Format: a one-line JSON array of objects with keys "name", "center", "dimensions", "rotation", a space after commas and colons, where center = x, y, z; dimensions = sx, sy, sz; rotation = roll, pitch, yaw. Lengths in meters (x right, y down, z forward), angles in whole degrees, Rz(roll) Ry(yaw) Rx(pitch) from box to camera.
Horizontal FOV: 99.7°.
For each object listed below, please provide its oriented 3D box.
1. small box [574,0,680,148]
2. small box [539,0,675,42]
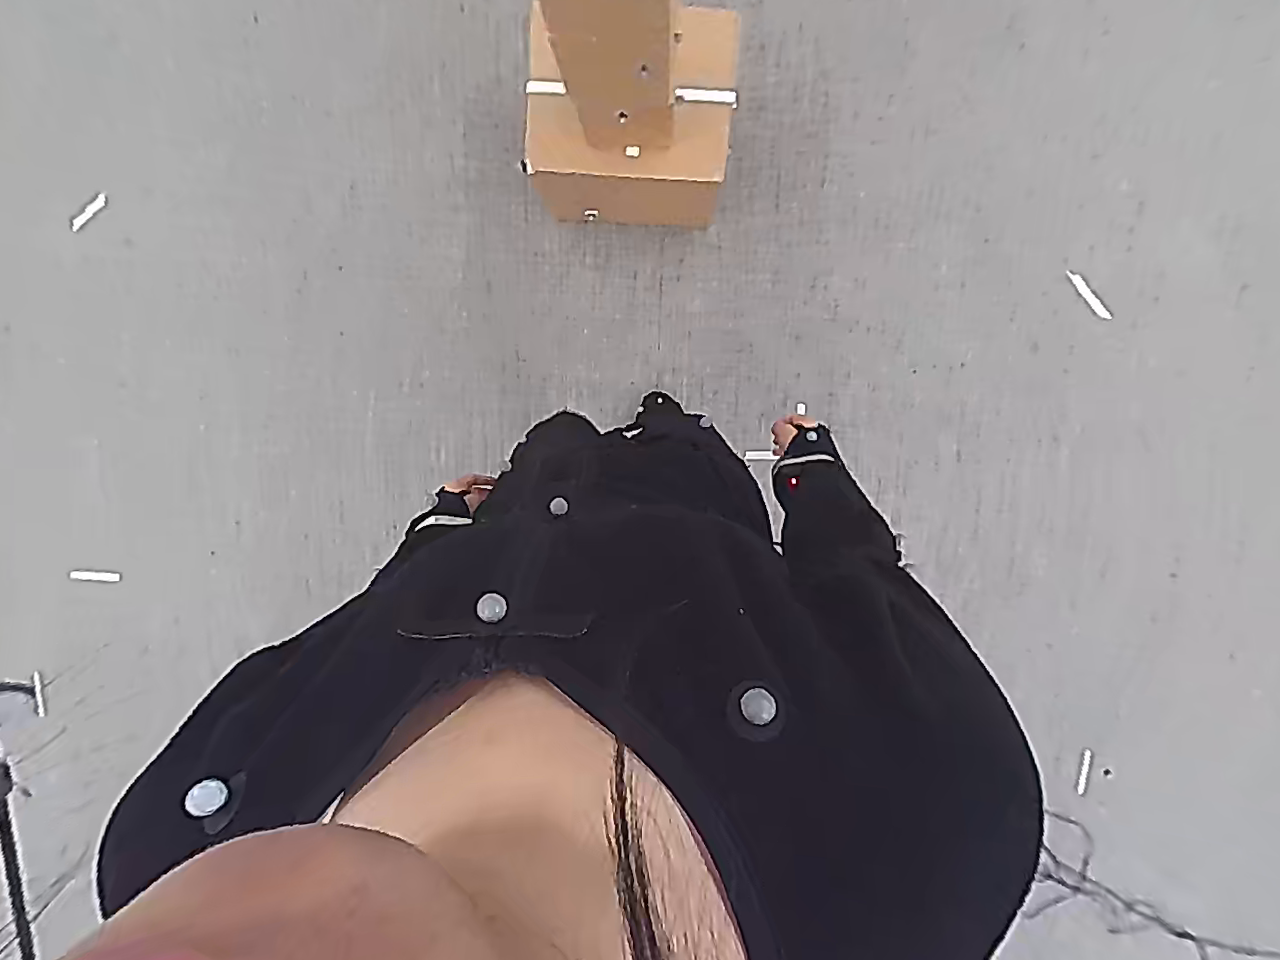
[{"name": "small box", "center": [-0.020, -0.728, 0.984], "dimensions": [0.179, 0.176, 0.168], "rotation": [2, 100, 1]}, {"name": "small box", "center": [-0.036, -0.679, 0.660], "dimensions": [0.179, 0.176, 0.168], "rotation": [6, 99, 2]}]
